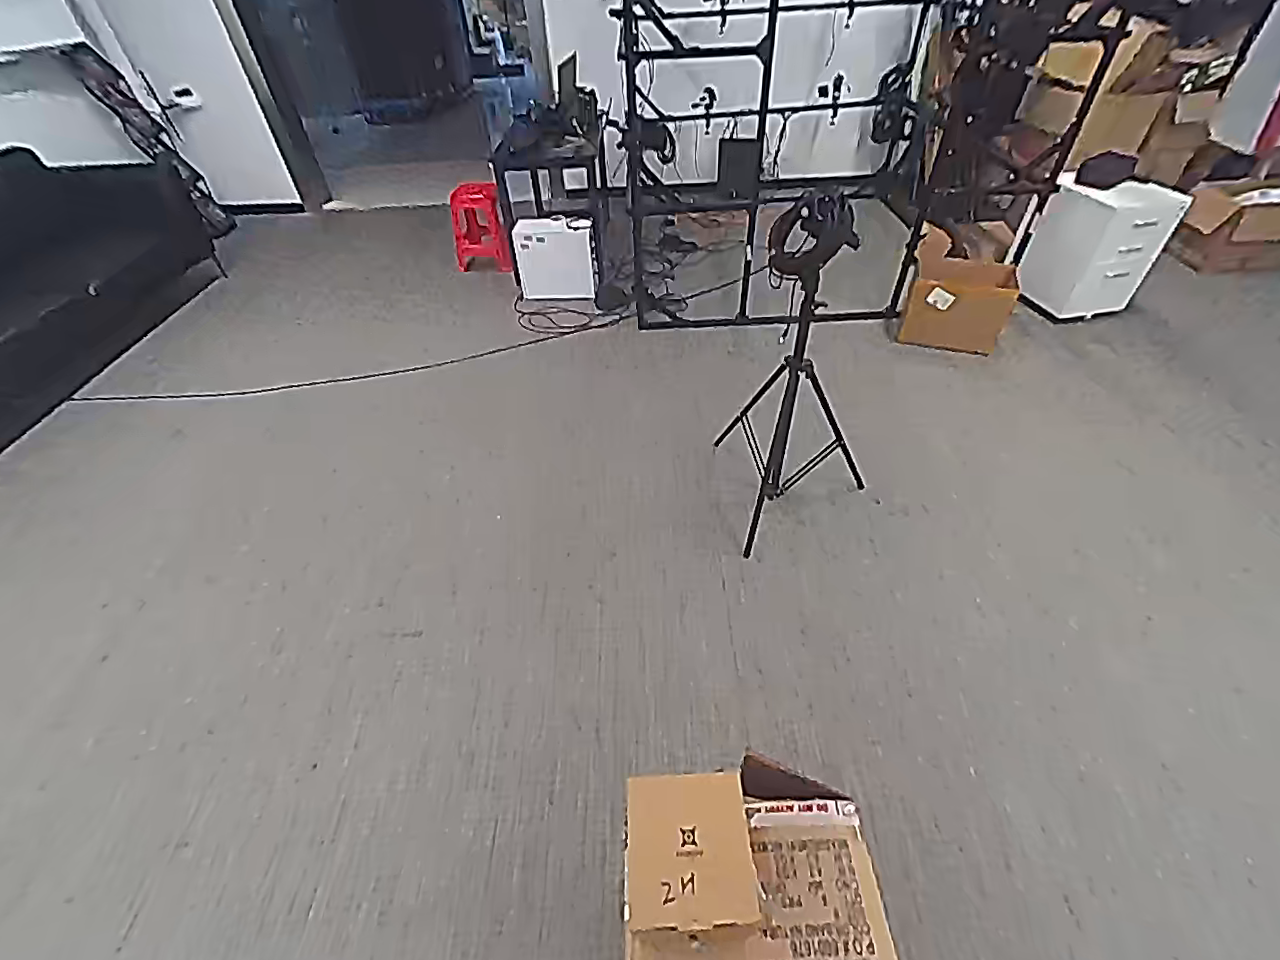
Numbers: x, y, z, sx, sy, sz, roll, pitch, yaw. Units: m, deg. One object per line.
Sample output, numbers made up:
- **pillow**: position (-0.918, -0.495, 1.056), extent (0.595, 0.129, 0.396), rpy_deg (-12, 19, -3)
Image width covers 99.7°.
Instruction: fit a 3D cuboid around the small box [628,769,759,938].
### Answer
- **small box**: position (0.069, 0.541, 0.783), extent (0.168, 0.176, 0.179), rpy_deg (-4, 47, 2)
